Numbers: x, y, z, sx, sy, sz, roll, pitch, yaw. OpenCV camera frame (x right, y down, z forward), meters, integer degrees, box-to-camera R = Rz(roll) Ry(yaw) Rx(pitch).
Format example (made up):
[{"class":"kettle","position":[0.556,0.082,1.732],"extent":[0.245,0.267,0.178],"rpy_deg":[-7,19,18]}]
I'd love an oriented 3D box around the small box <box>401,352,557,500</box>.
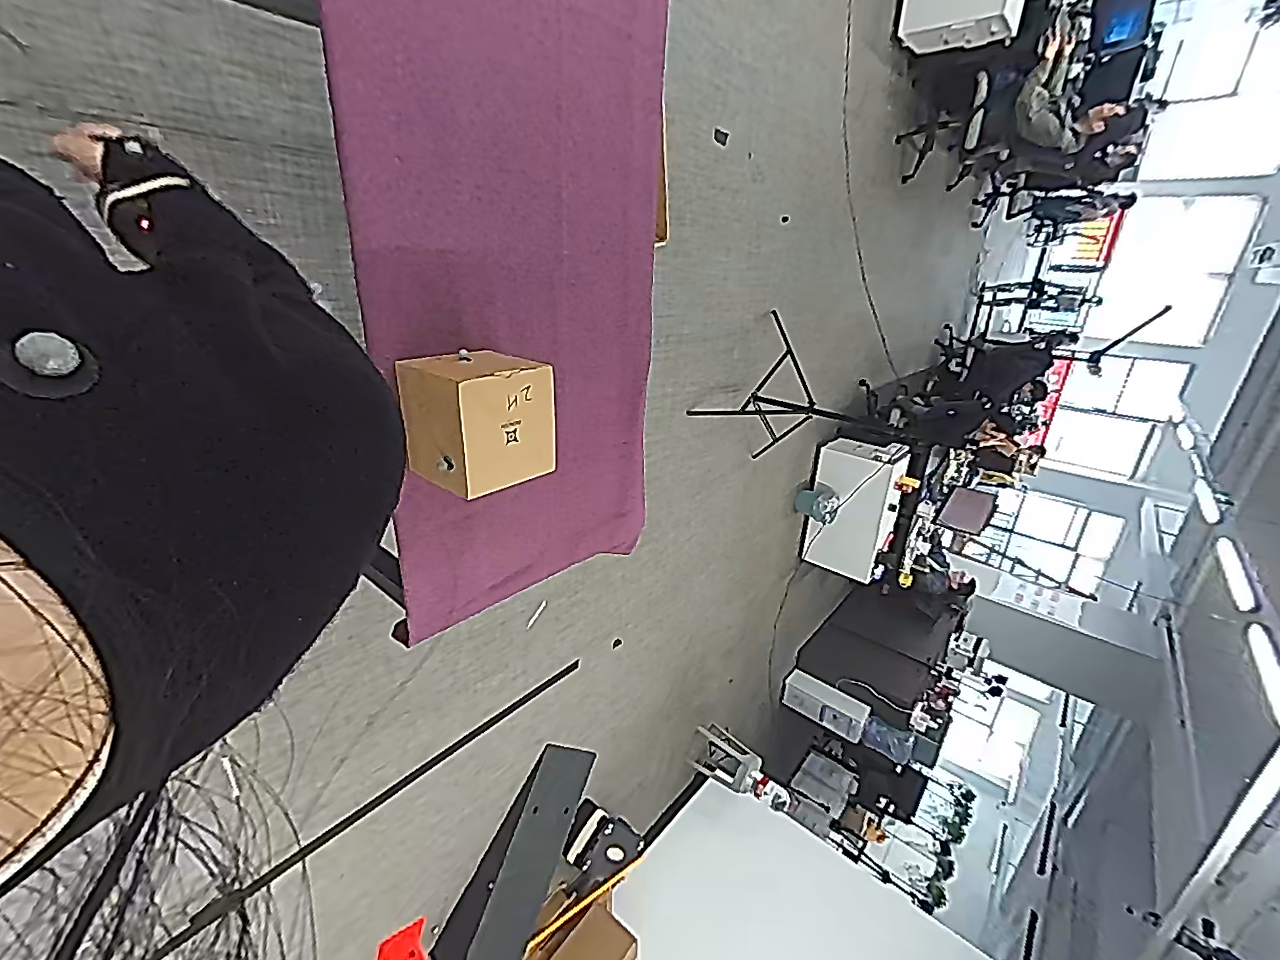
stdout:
[{"class":"small box","position":[-0.247,-0.093,0.841],"extent":[0.168,0.176,0.179],"rpy_deg":[-23,123,-46]}]
